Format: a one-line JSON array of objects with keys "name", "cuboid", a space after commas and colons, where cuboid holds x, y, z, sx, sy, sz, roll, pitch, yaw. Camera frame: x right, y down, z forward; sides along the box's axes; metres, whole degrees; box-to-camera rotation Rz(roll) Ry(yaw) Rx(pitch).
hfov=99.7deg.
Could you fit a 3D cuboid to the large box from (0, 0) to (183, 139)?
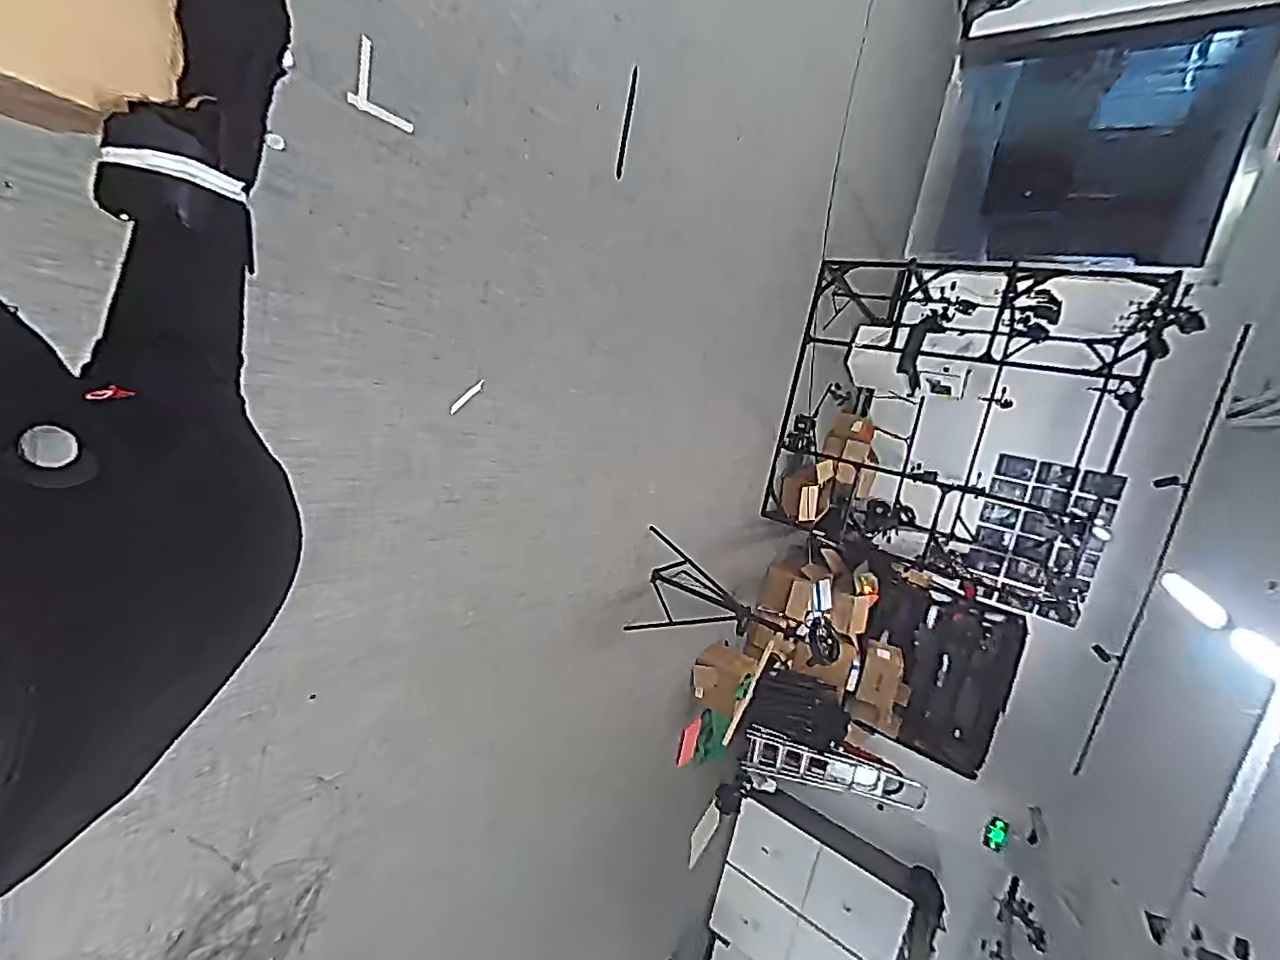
[{"name": "large box", "cuboid": [-0.527, -0.431, 0.266, 0.408, 0.320, 0.320, -3, 113, -59]}]
